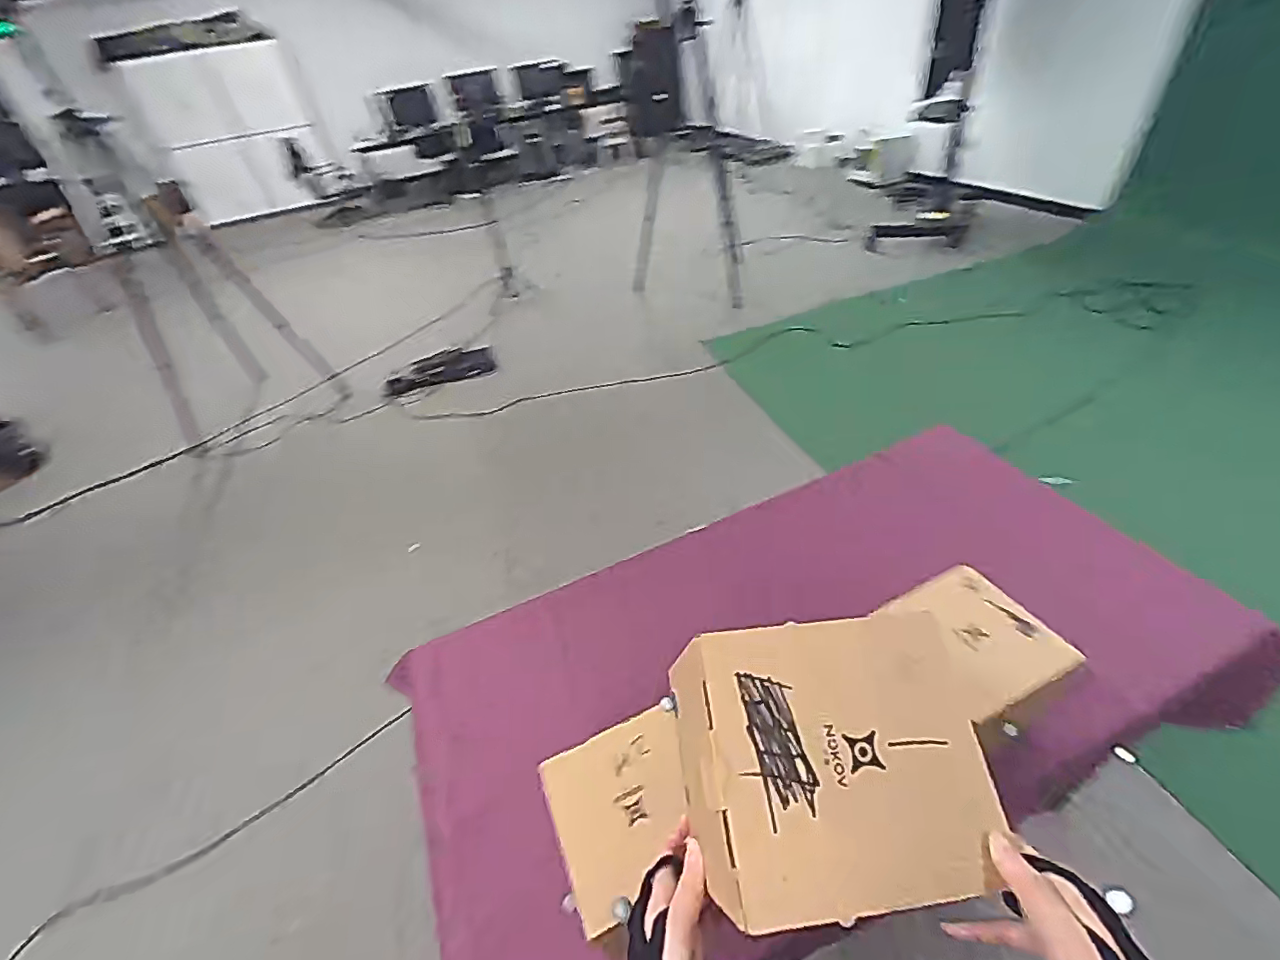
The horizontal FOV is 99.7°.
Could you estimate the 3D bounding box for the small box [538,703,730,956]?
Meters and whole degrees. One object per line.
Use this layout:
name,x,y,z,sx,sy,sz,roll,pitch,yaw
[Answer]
small box,0.001,0.404,0.624,0.168,0.176,0.179,-21,41,-13

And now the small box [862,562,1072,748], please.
small box,0.409,0.249,0.719,0.179,0.176,0.168,-23,42,-13

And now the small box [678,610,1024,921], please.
small box,0.127,0.206,0.413,0.179,0.176,0.168,-3,63,-6
